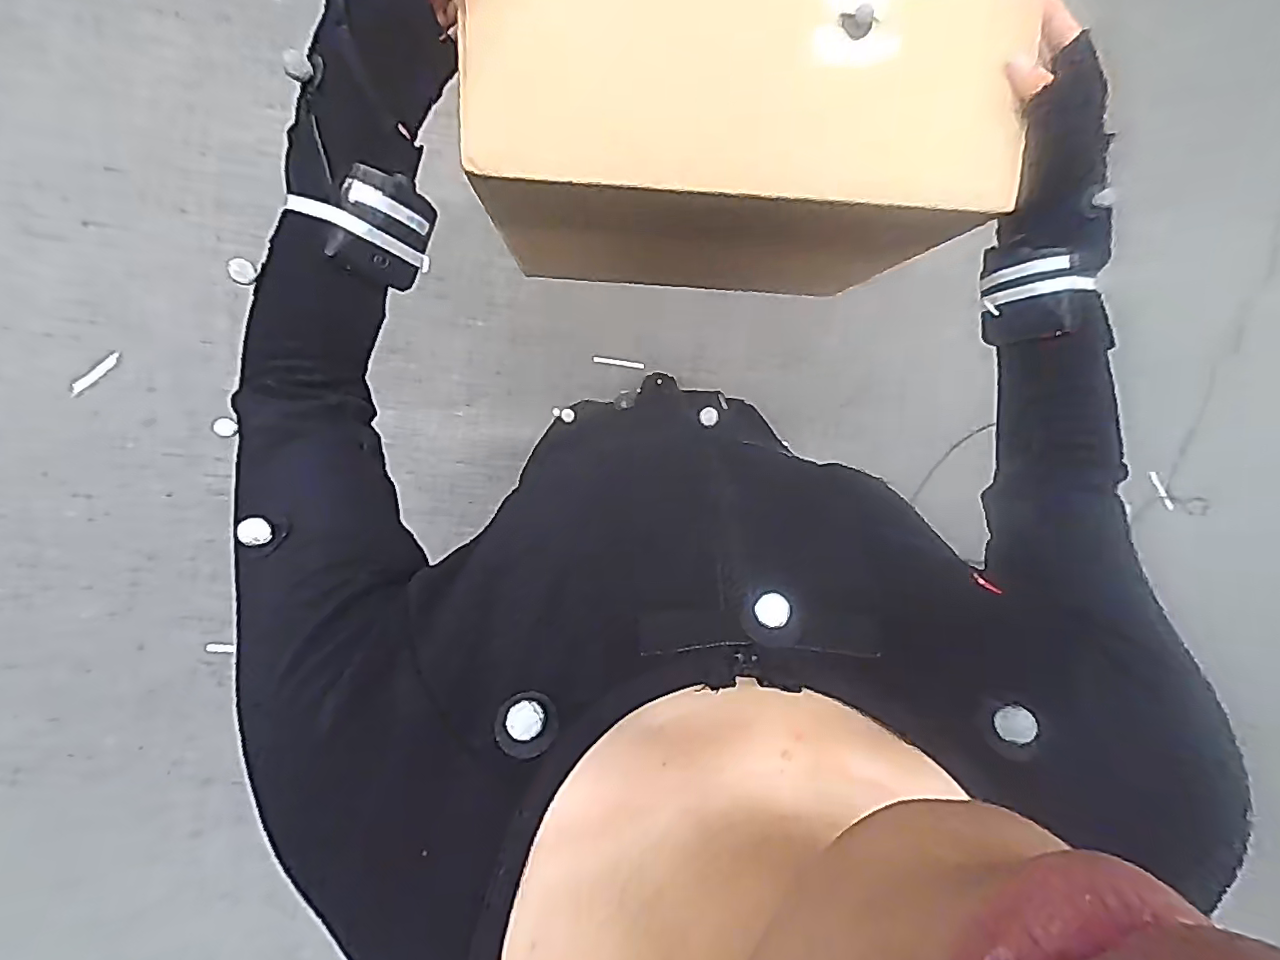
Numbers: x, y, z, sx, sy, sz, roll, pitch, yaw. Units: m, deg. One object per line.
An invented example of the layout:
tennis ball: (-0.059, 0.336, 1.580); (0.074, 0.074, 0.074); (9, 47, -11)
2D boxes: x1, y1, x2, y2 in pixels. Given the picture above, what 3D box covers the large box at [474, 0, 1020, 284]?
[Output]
large box: (0.069, -0.390, 0.528); (0.408, 0.320, 0.320); (1, 98, -5)
